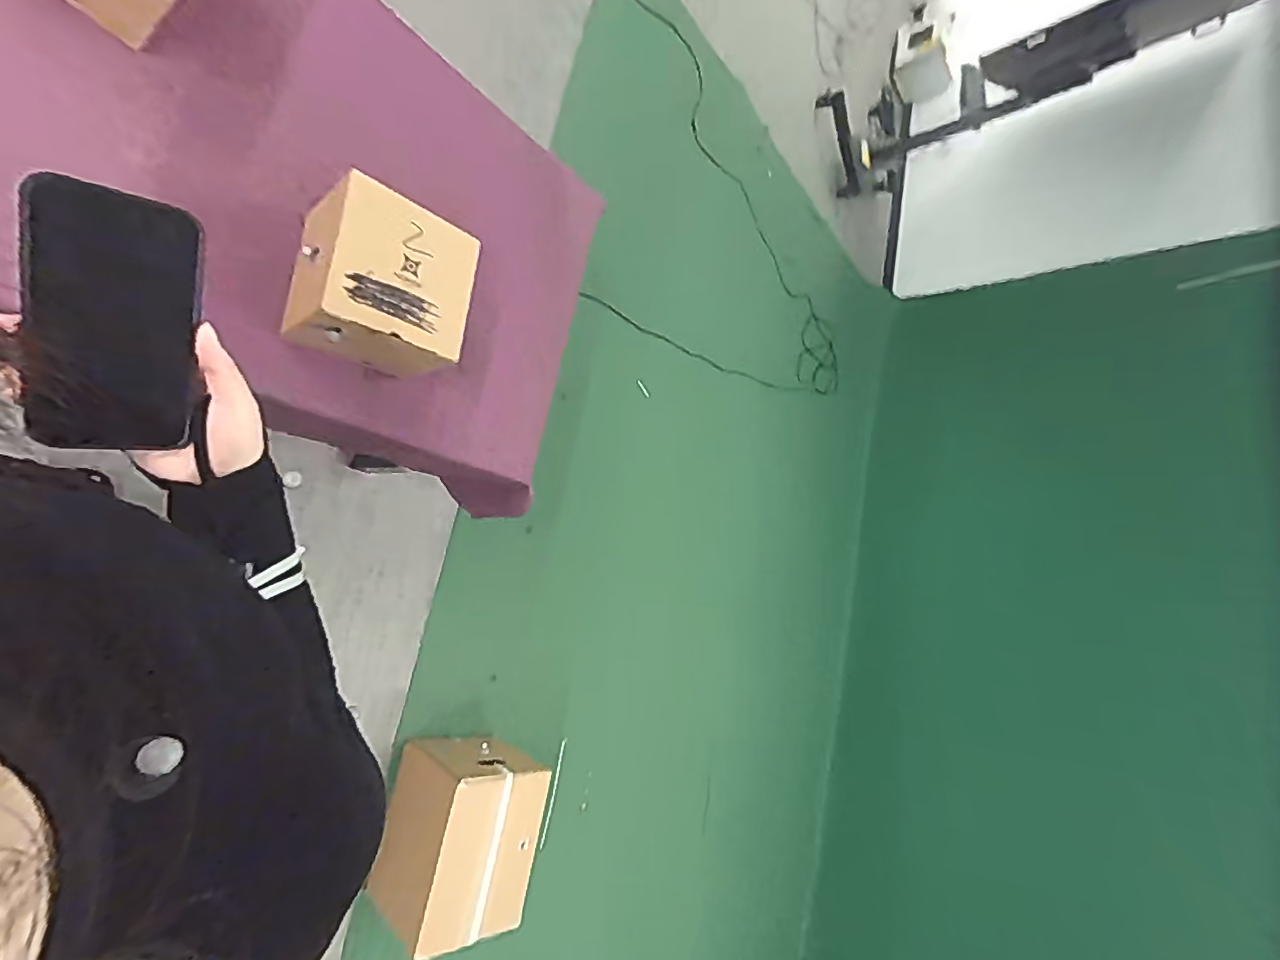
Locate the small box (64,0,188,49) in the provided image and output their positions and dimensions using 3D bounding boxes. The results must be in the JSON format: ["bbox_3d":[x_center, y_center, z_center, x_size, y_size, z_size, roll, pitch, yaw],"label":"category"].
[{"bbox_3d":[-0.519,-0.577,0.512,0.168,0.176,0.179,32,69,-42],"label":"small box"}]
